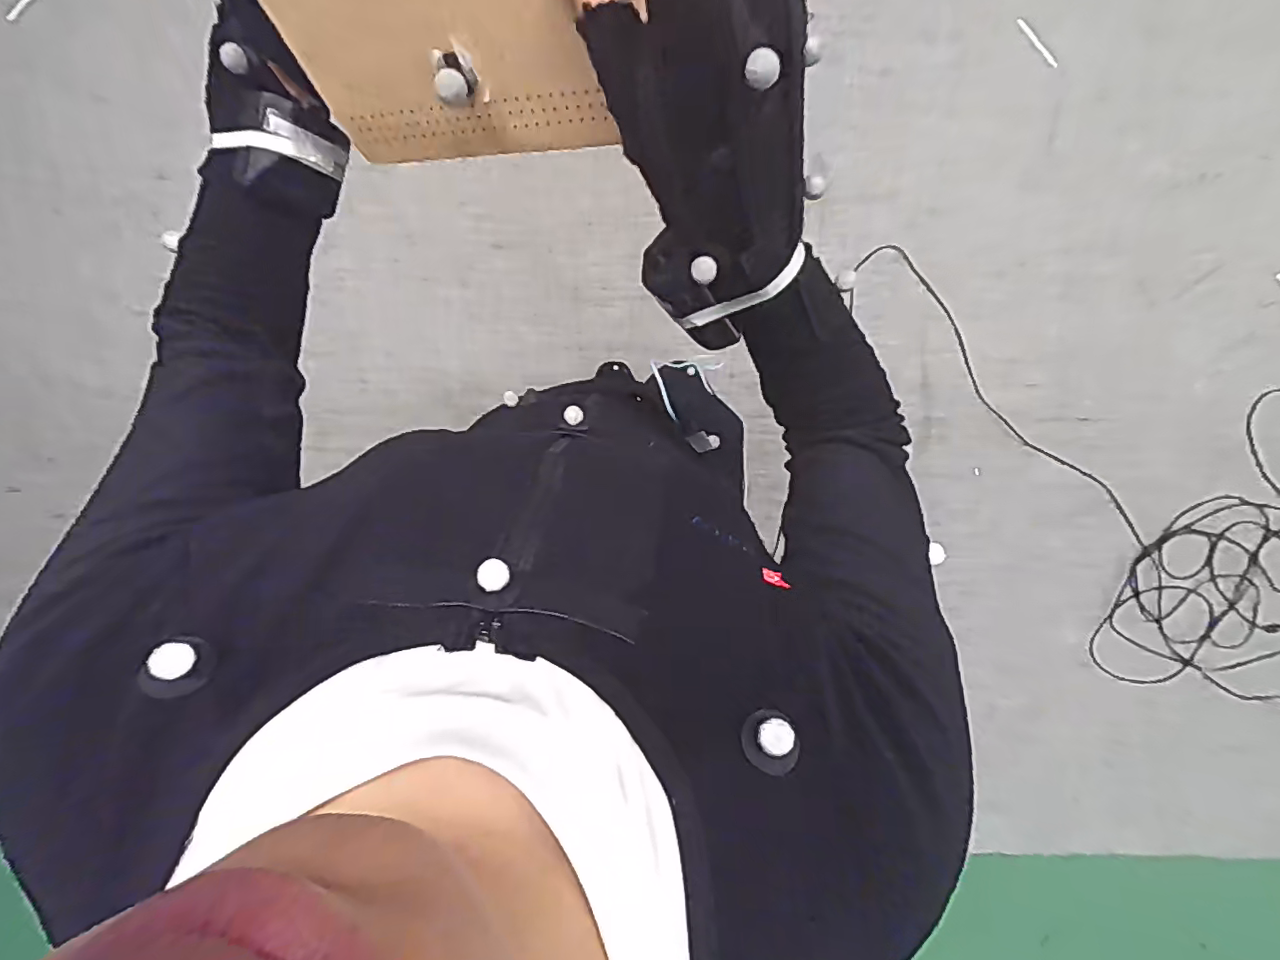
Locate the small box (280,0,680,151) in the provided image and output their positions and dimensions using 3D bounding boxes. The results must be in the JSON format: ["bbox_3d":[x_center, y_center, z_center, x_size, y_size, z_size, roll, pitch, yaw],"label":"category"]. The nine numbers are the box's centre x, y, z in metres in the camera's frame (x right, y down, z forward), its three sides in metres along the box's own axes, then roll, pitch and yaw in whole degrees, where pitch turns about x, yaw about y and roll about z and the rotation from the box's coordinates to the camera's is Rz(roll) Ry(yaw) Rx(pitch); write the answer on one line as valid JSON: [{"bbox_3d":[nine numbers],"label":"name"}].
[{"bbox_3d":[-0.081,-0.300,0.276,0.179,0.176,0.168,6,64,16],"label":"small box"}]
